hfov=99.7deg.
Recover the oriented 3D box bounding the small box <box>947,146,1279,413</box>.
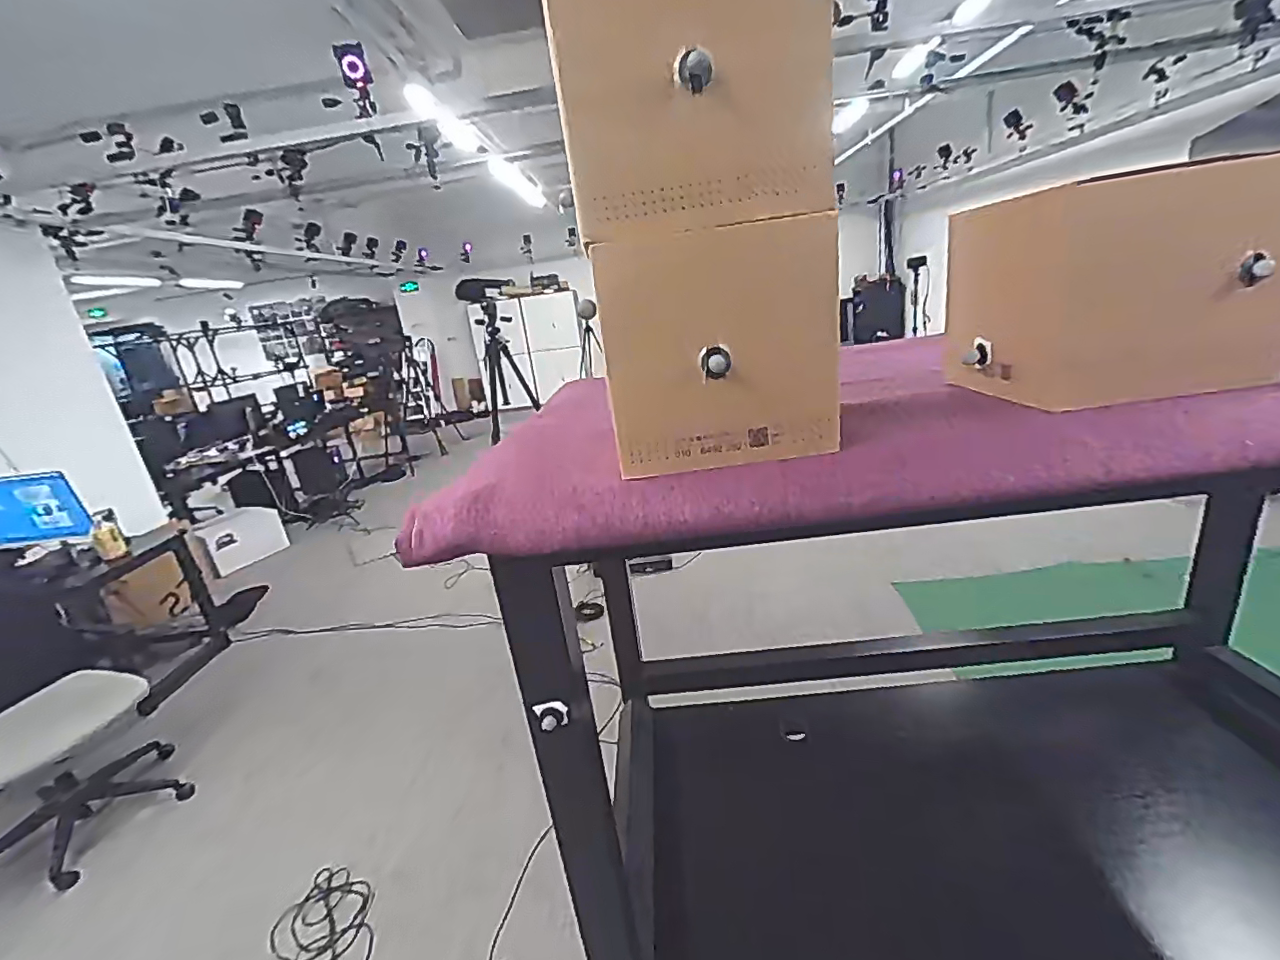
[{"bbox_3d":[0.391,-0.164,0.464,0.179,0.176,0.168,-9,19,2],"label":"small box"}]

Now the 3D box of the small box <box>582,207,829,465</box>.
[{"bbox_3d":[0.052,-0.115,0.453,0.168,0.176,0.179,-7,20,1],"label":"small box"}]
